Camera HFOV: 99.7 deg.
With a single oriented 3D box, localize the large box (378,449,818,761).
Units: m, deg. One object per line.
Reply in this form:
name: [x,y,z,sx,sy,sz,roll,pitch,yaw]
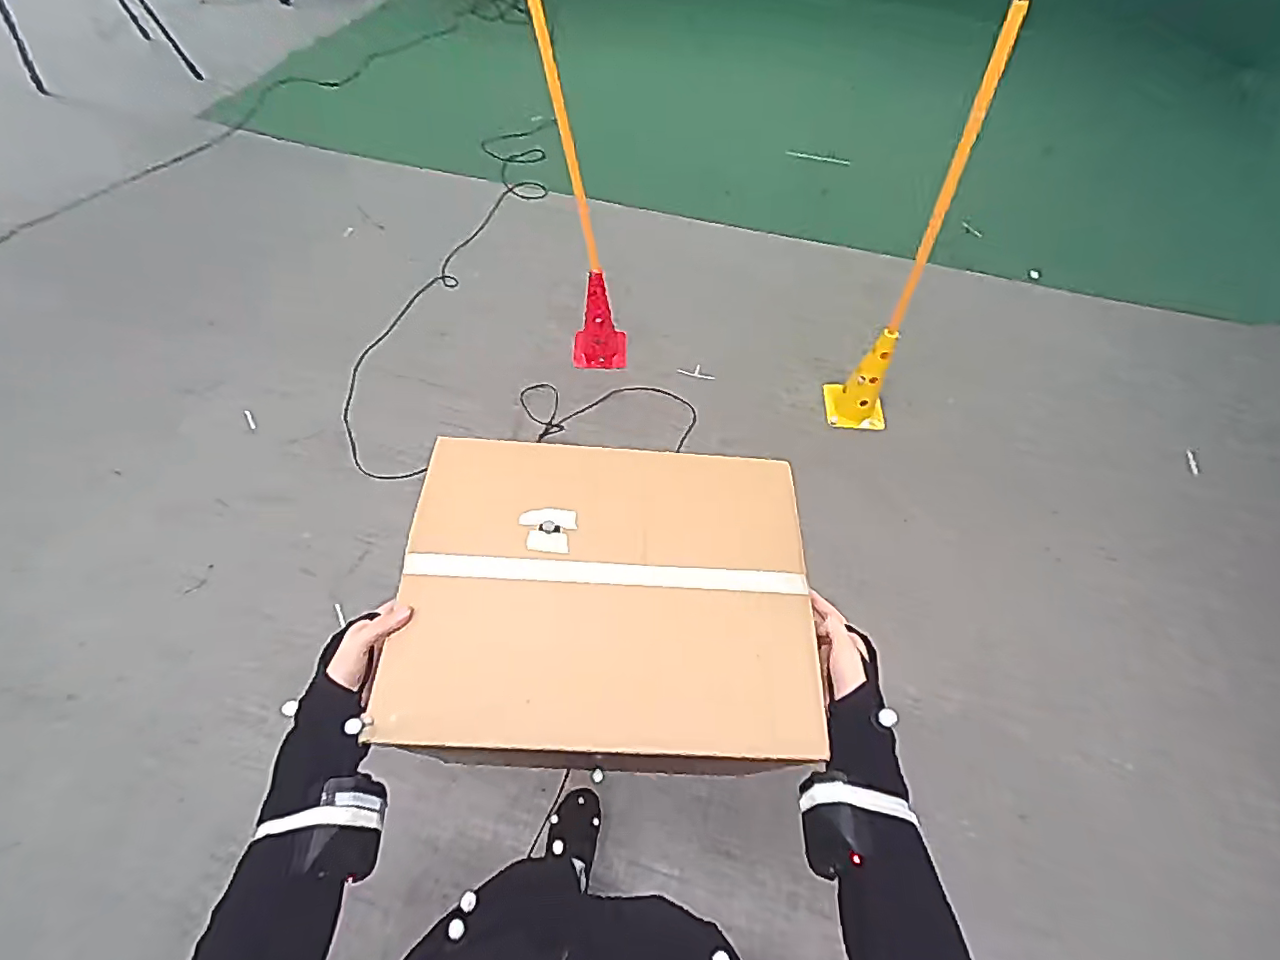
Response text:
large box: [-0.040,0.177,0.686,0.408,0.320,0.320,3,58,-2]
